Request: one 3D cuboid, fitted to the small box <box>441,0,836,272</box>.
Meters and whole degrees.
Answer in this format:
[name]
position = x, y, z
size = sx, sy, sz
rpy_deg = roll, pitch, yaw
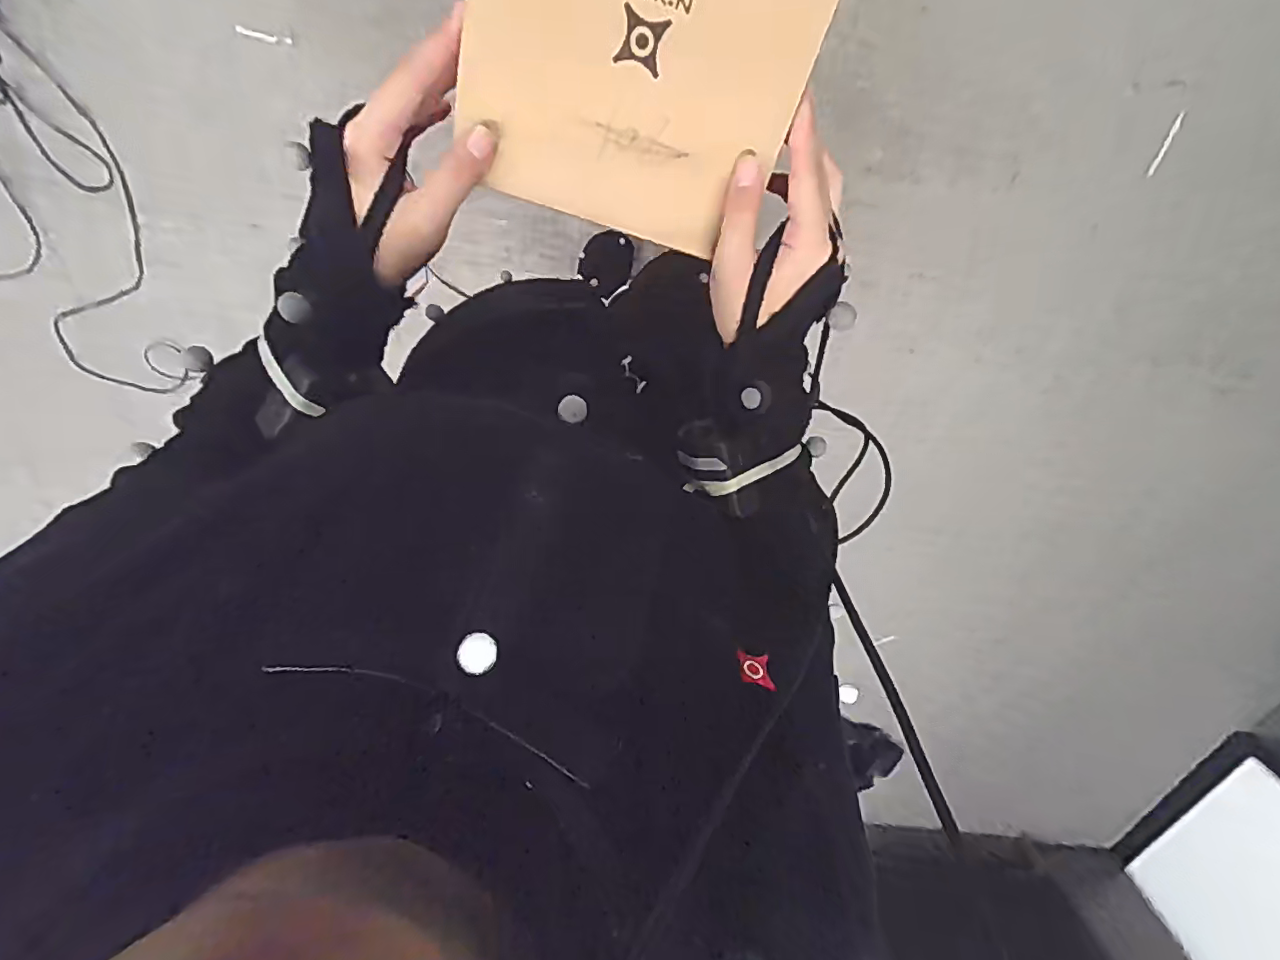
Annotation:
[small box]
position = -0.001, -0.250, 0.312
size = 0.168, 0.176, 0.179
rpy_deg = 14, 124, -9
